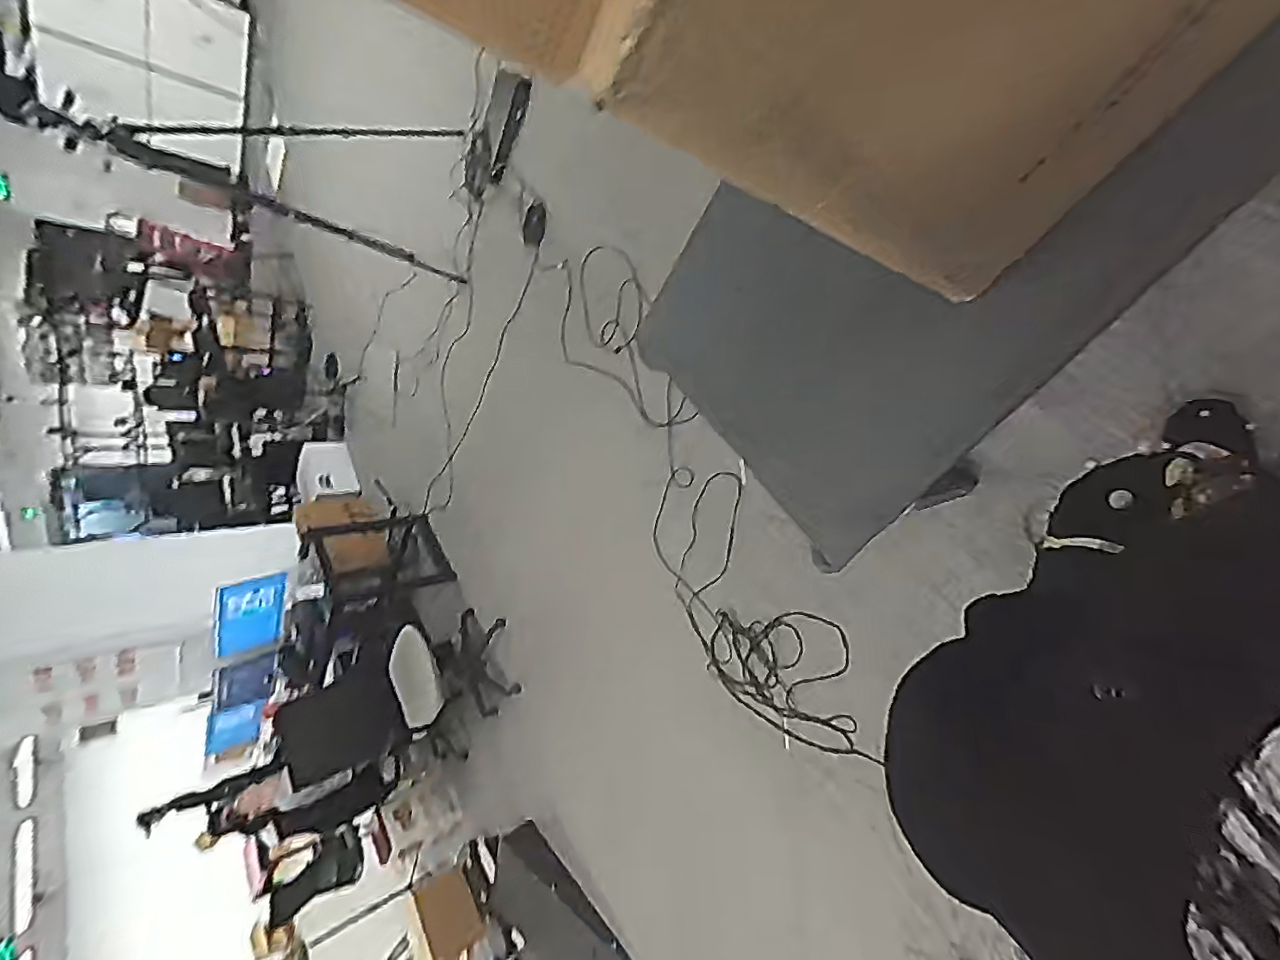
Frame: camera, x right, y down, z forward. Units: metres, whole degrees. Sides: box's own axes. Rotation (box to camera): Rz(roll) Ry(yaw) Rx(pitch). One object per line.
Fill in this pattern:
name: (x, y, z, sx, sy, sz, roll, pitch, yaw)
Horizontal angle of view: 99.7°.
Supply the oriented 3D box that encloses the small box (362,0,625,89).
small box: (-0.094, -0.306, 0.222, 0.179, 0.176, 0.168, 56, 132, 24)
